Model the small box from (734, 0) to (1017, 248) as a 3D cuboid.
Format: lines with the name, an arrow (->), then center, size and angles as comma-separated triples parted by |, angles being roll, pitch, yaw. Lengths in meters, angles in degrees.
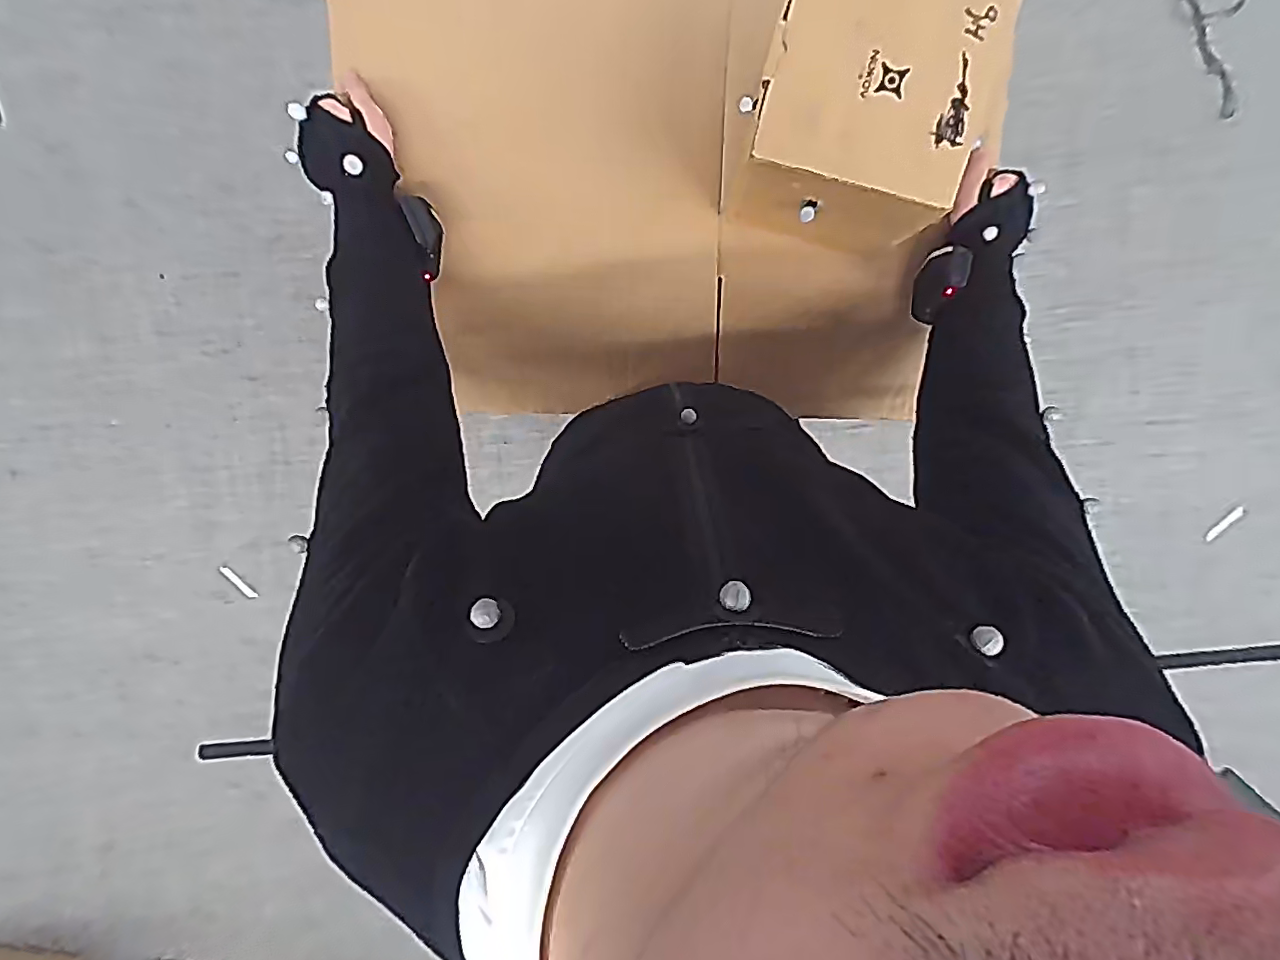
small box -> 0.198, -0.341, 0.517 | 0.179, 0.176, 0.168 | 15, 100, 1
